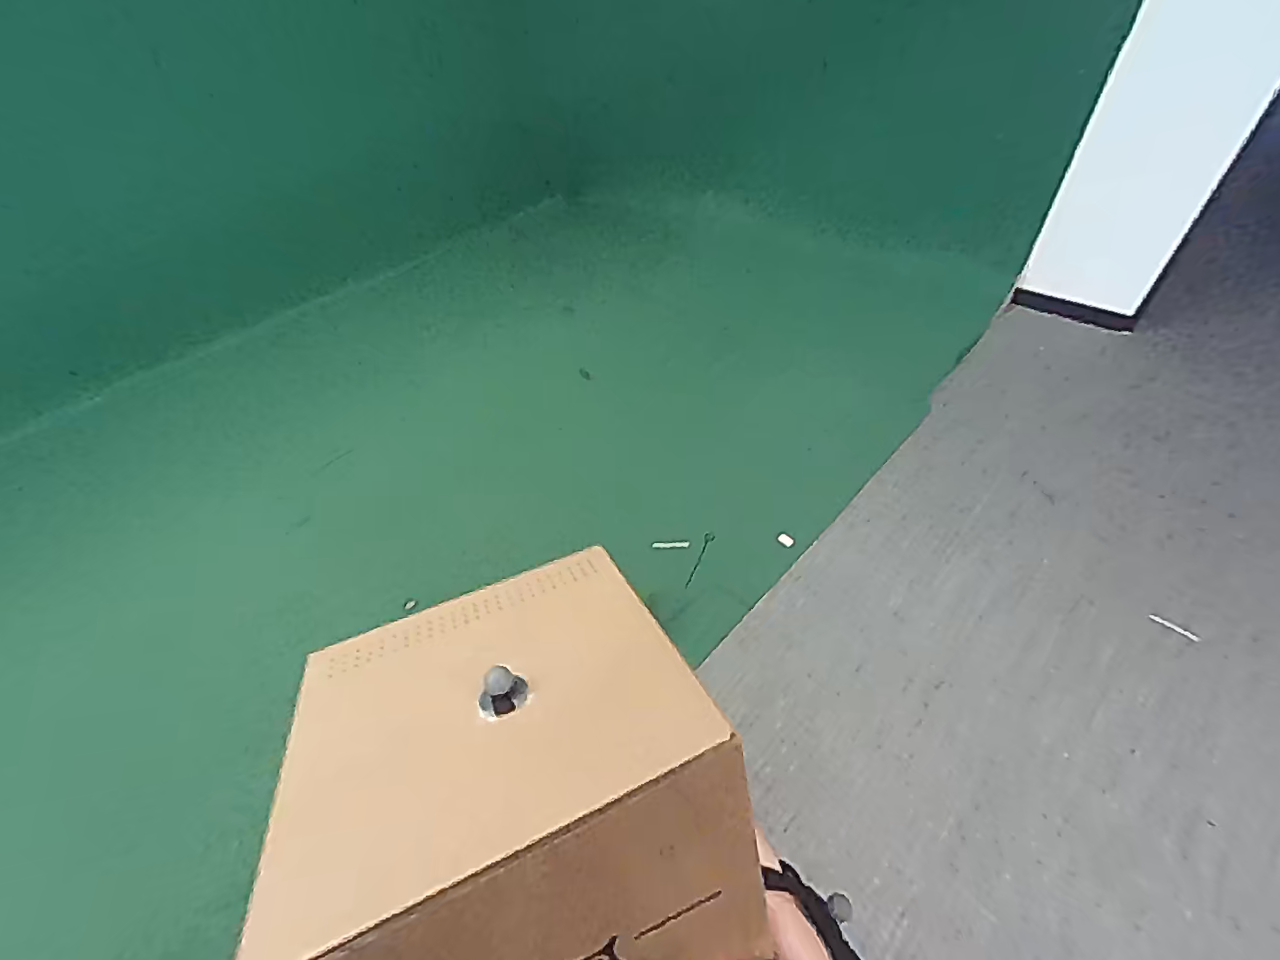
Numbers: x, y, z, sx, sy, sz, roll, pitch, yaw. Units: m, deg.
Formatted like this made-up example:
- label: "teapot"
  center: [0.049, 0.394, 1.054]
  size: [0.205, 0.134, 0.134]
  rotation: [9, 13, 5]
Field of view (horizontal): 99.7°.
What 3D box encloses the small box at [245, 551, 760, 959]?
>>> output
- label: "small box"
  center: [-0.060, 0.165, 0.292]
  size: [0.179, 0.168, 0.176]
  rotation: [-19, 26, -16]
